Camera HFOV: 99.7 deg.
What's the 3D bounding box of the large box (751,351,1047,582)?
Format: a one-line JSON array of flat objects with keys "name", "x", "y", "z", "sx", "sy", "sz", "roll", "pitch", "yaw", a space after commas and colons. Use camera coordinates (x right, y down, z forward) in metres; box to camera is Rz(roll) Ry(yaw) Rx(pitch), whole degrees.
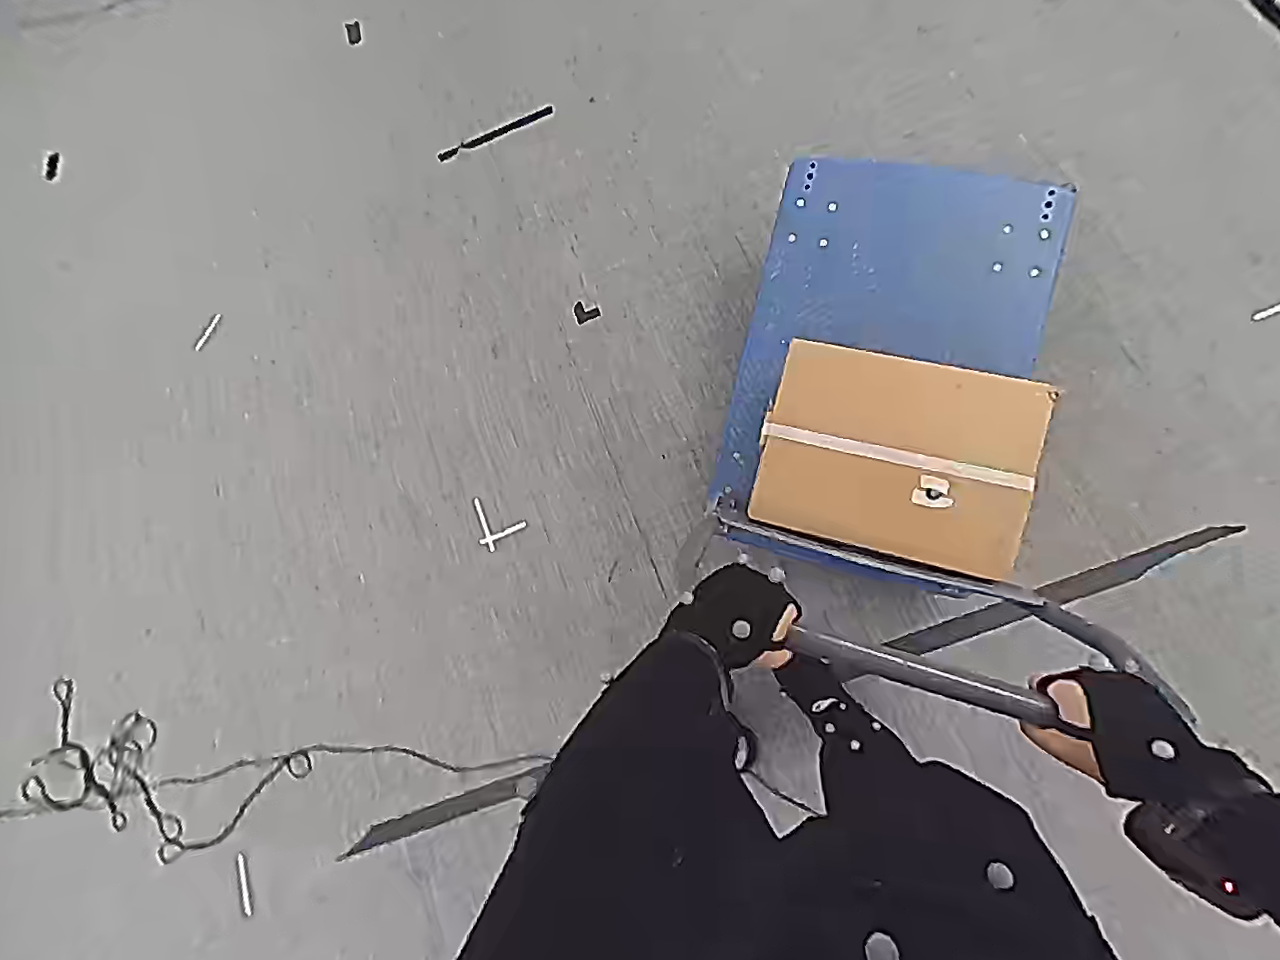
[{"name": "large box", "x": 0.440, "y": -0.024, "z": 1.026, "sx": 0.408, "sy": 0.320, "sz": 0.320, "roll": 14, "pitch": 92, "yaw": 12}]
